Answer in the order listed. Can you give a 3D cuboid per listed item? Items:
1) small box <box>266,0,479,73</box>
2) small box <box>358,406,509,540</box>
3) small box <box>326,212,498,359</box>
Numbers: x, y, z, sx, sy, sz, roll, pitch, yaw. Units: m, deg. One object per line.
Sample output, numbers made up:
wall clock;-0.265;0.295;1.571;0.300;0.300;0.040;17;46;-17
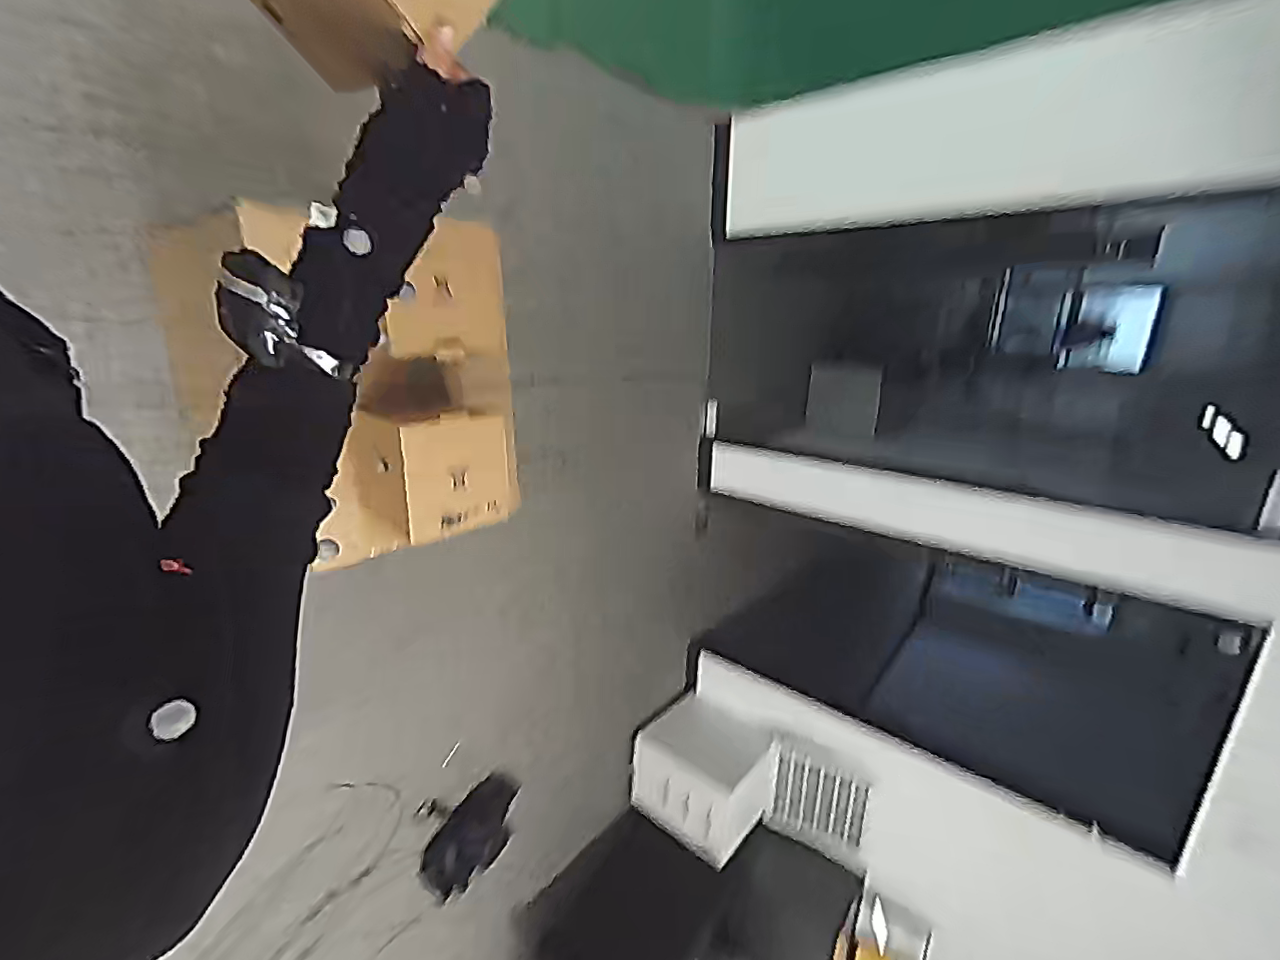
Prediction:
small box;-0.184;-0.400;0.339;0.179;0.176;0.168;-61;144;-8
small box;-0.329;-0.024;0.862;0.168;0.176;0.179;-15;112;-45
small box;-0.329;-0.275;0.786;0.168;0.176;0.179;-19;114;-45
